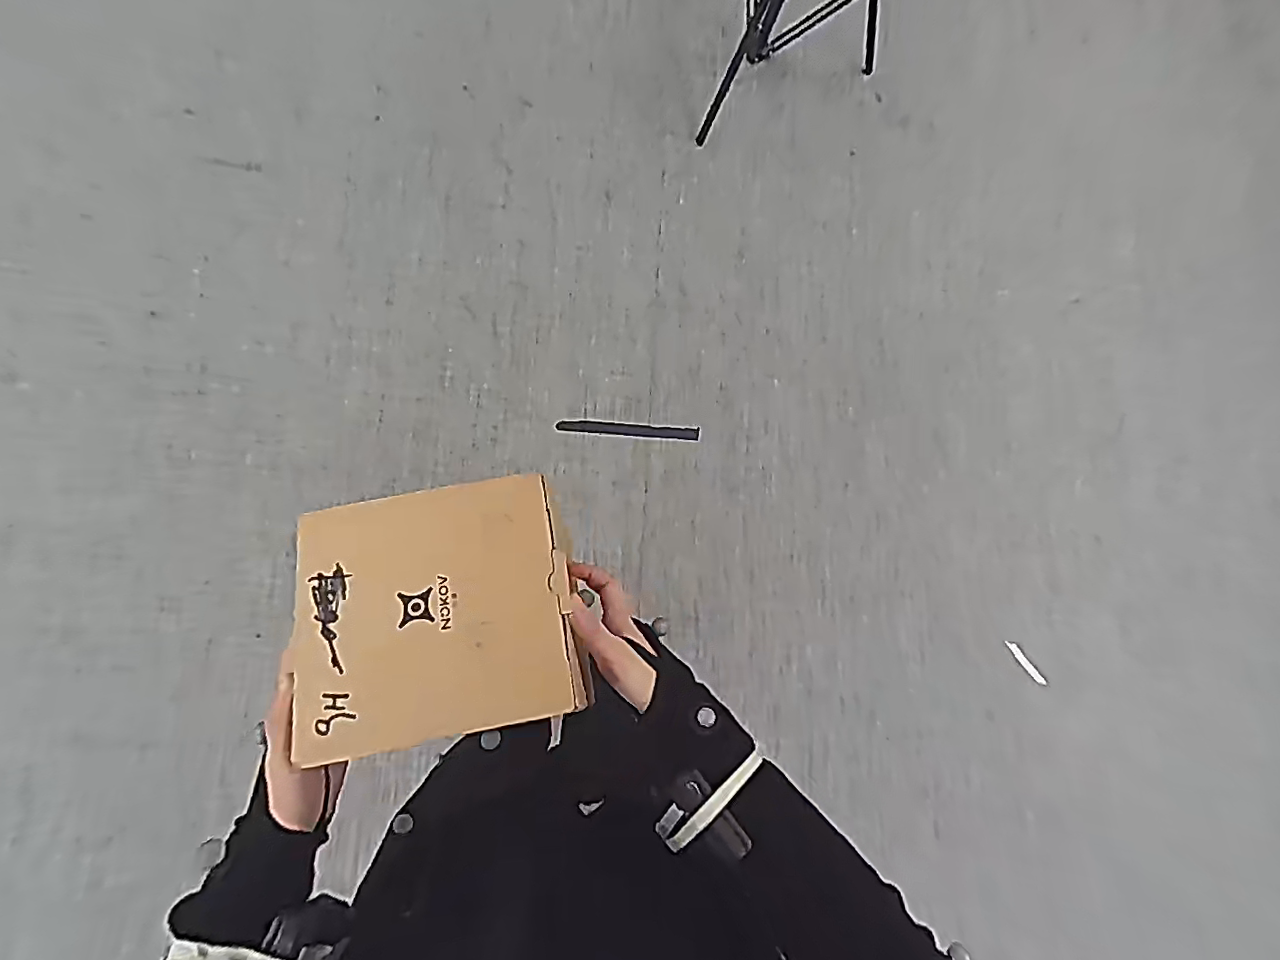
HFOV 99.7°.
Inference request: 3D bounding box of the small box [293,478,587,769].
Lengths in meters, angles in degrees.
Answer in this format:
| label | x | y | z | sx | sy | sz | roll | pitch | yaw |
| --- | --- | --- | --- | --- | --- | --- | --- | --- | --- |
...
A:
| label | x | y | z | sx | sy | sz | roll | pitch | yaw |
| --- | --- | --- | --- | --- | --- | --- | --- | --- | --- |
| small box | -0.139 | 0.115 | 0.433 | 0.179 | 0.176 | 0.168 | -10 | 68 | -5 |
